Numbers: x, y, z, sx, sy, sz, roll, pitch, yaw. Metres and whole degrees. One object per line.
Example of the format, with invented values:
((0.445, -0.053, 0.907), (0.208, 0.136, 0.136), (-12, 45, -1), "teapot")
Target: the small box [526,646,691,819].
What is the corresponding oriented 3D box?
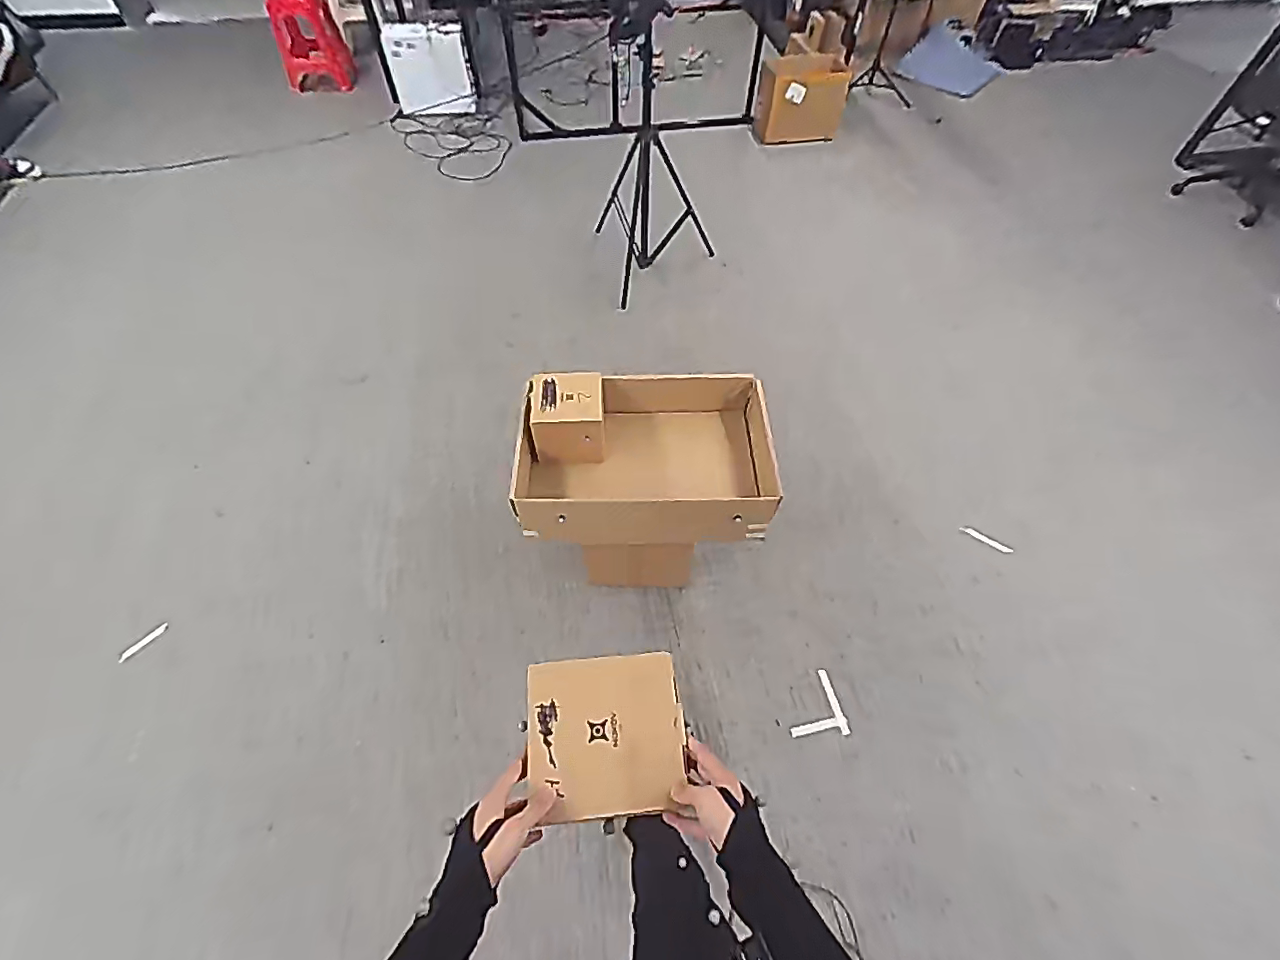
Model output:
((-0.045, 0.315, 0.670), (0.179, 0.176, 0.168), (-3, 57, -7), "small box")
